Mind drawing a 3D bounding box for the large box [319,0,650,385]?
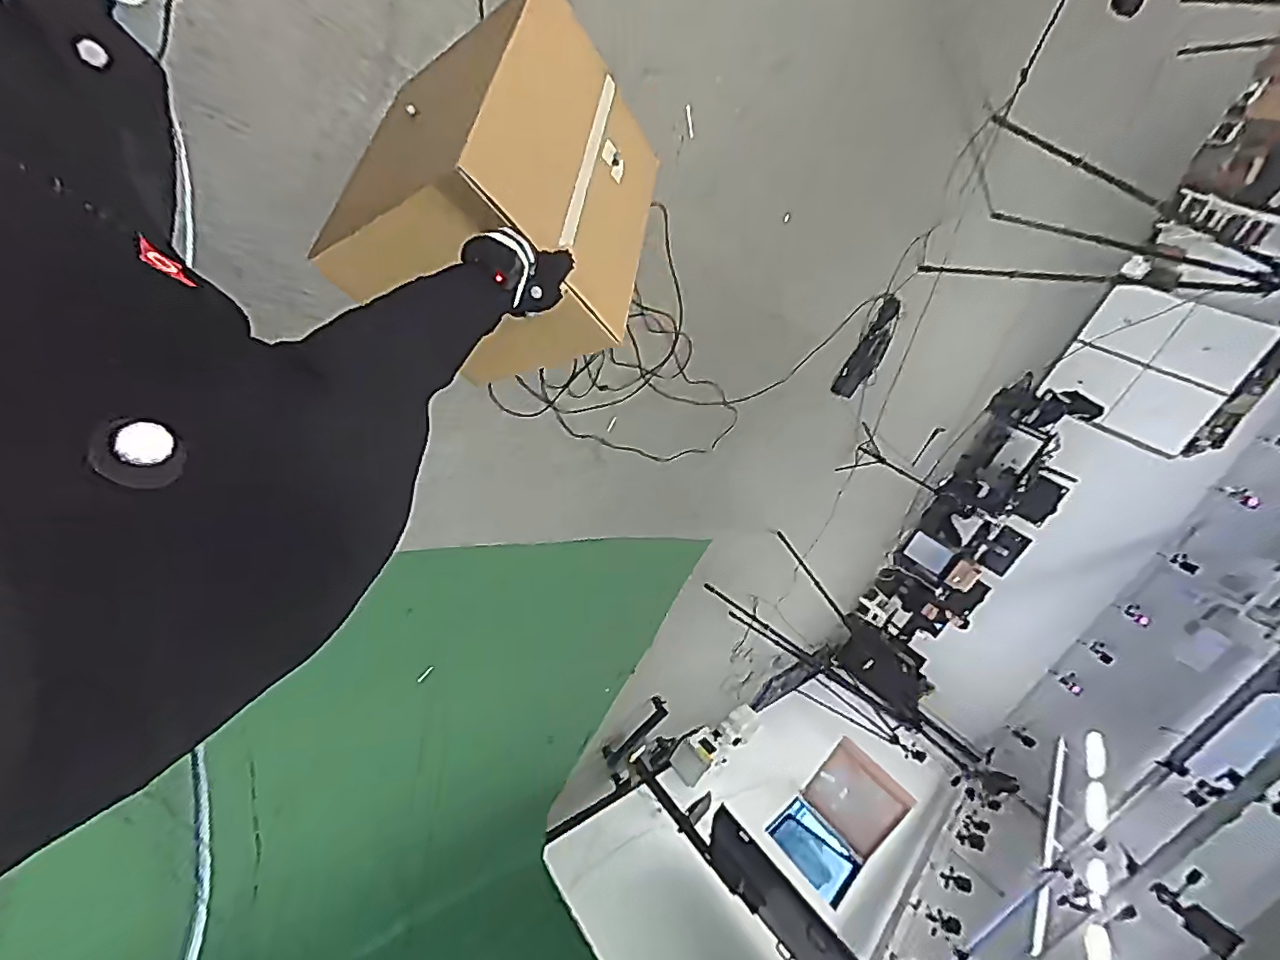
[{"bbox_3d":[-0.213,-0.419,0.842,0.320,0.320,0.408,40,51,-48],"label":"large box"}]
